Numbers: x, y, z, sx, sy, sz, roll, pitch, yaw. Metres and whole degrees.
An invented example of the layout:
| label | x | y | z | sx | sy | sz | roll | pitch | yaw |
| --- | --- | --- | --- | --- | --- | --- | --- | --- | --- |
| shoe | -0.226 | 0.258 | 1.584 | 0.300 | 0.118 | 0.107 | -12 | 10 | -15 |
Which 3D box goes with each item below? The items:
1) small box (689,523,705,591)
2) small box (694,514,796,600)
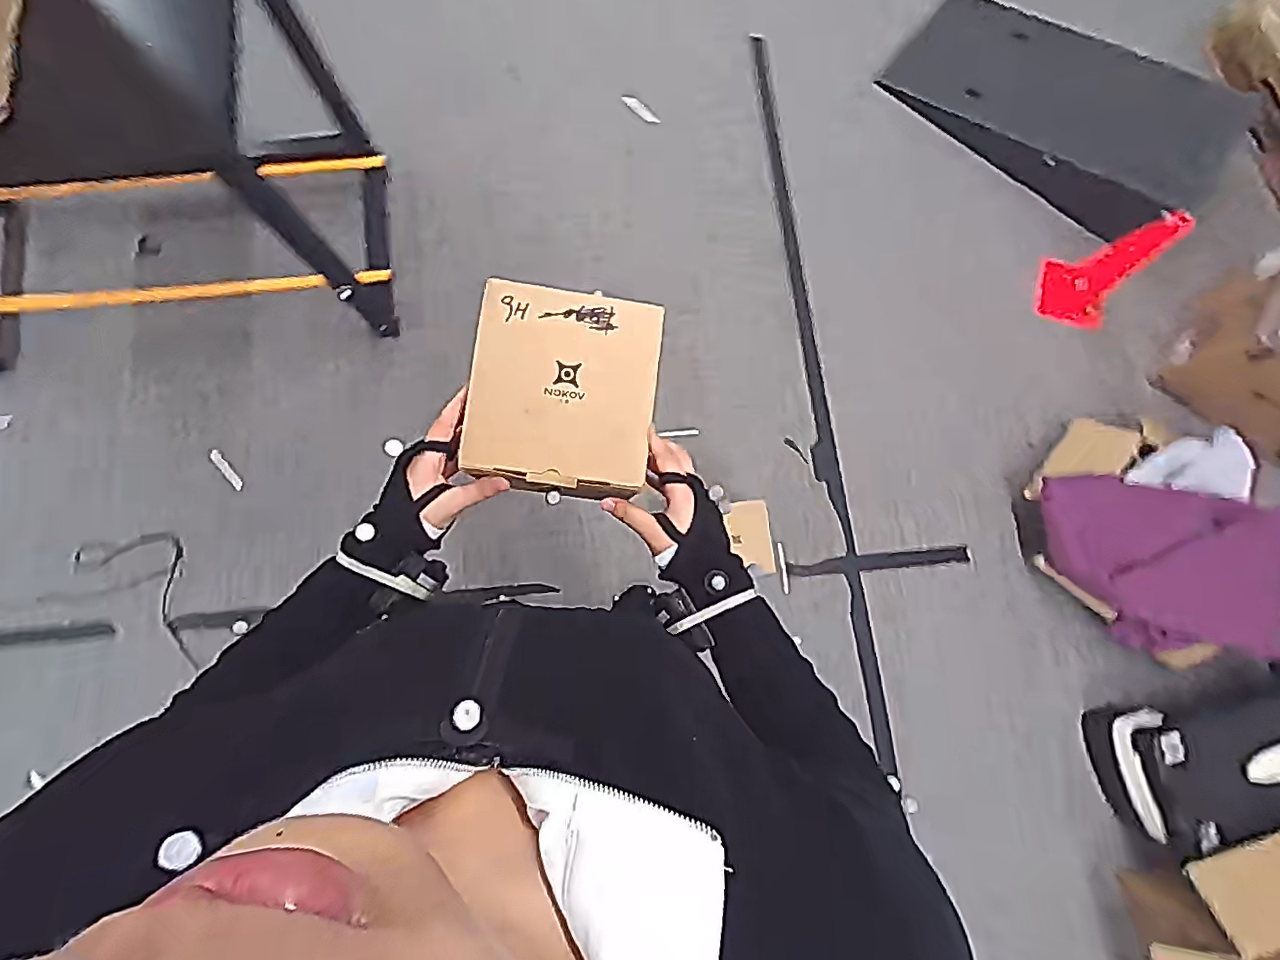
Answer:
| label | x | y | z | sx | sy | sz | roll | pitch | yaw |
| --- | --- | --- | --- | --- | --- | --- | --- | --- | --- |
| small box | 0.227 | 0.190 | 1.365 | 0.179 | 0.176 | 0.168 | -7 | 80 | -1 |
| small box | 0.225 | 0.171 | 1.201 | 0.179 | 0.176 | 0.168 | -6 | 80 | -3 |
